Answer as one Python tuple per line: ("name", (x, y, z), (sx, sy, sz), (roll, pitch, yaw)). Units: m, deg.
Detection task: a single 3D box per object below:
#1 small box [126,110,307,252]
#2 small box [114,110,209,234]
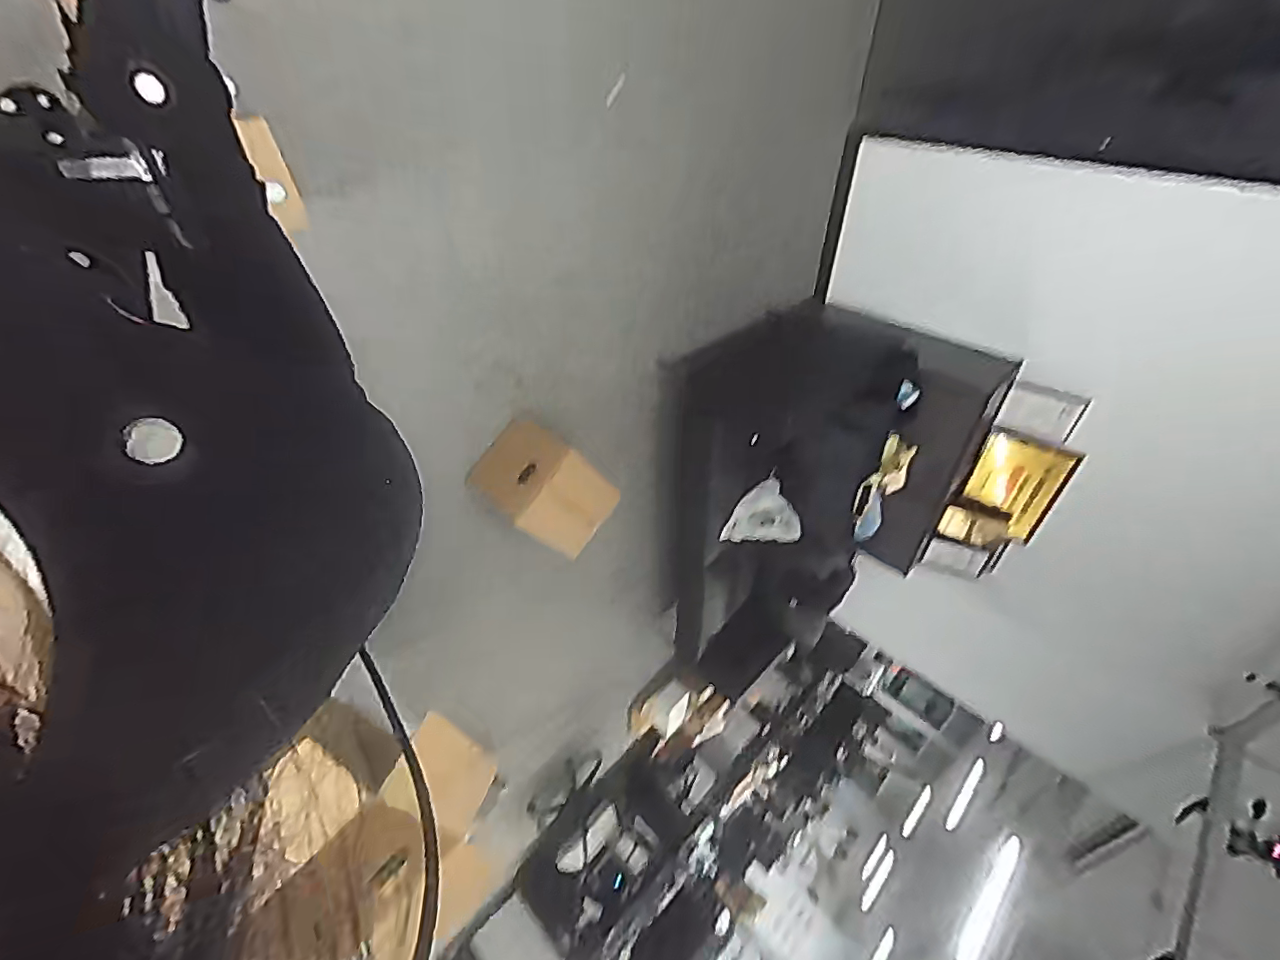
("small box", (-0.718, -0.512, 0.918), (0.179, 0.176, 0.168), (-37, 144, -30))
("small box", (-0.832, -0.580, 1.013), (0.179, 0.176, 0.168), (-34, 142, -31))
